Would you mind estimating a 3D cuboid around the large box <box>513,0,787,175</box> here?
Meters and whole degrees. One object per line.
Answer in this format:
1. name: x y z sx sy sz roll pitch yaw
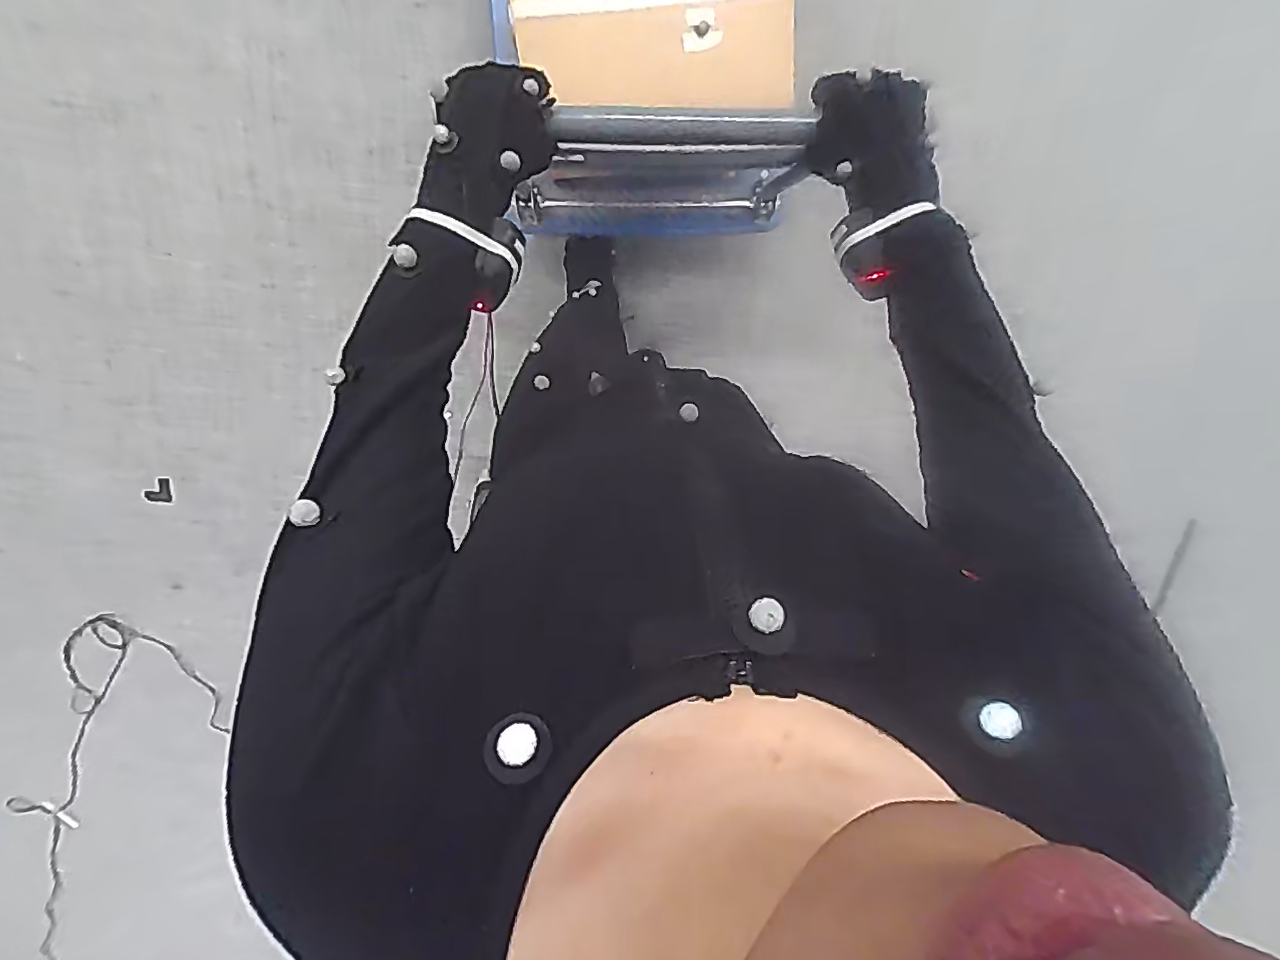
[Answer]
1. large box: 0.003 -0.747 0.926 0.408 0.320 0.320 -7 109 -2
